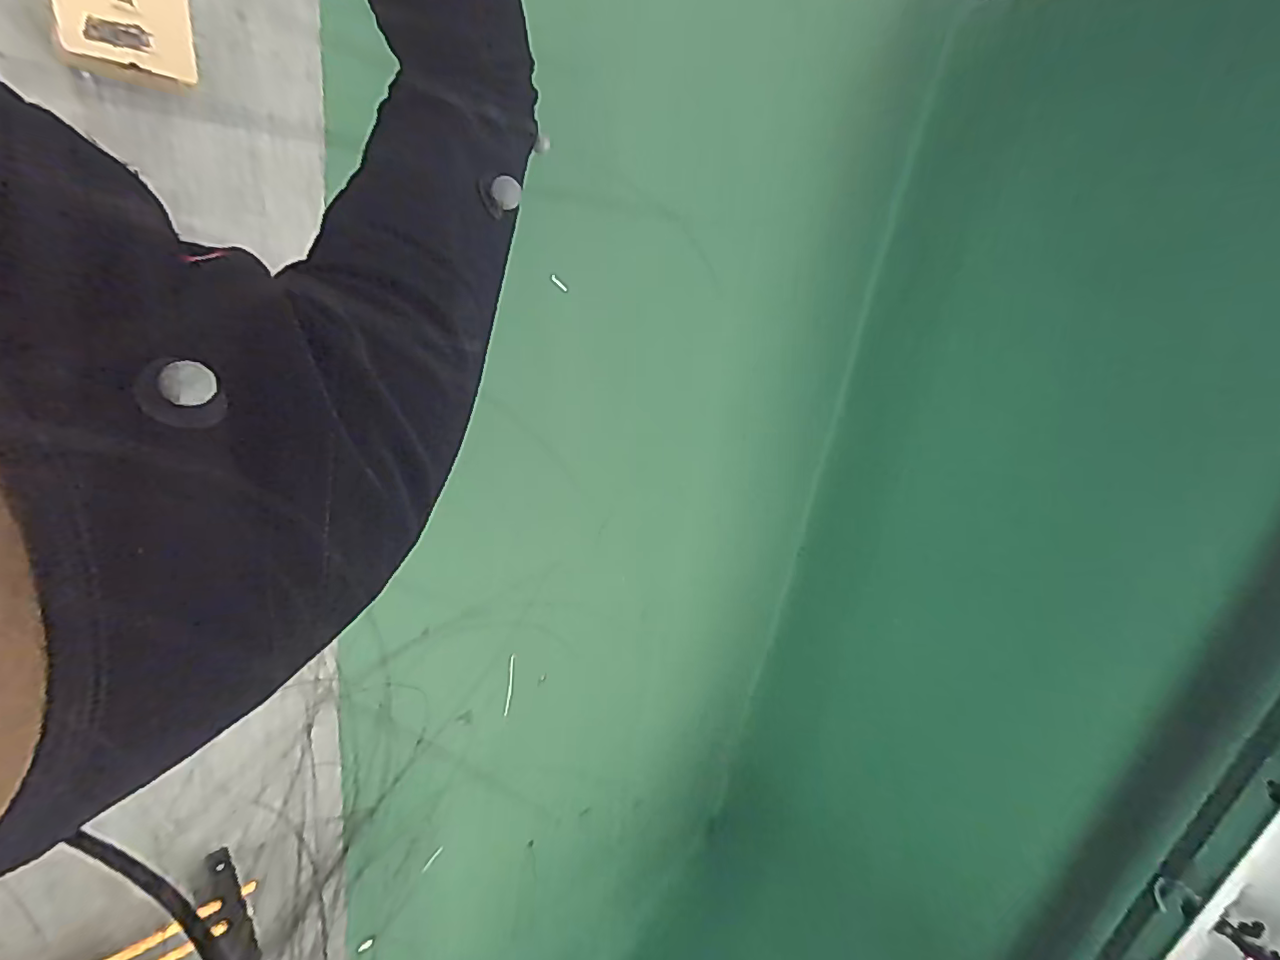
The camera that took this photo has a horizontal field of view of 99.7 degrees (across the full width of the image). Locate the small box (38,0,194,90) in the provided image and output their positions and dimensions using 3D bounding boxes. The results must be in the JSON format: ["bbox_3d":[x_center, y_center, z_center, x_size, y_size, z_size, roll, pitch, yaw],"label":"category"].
[{"bbox_3d":[-0.854,-0.764,0.877,0.168,0.176,0.179,-14,120,-45],"label":"small box"}]
